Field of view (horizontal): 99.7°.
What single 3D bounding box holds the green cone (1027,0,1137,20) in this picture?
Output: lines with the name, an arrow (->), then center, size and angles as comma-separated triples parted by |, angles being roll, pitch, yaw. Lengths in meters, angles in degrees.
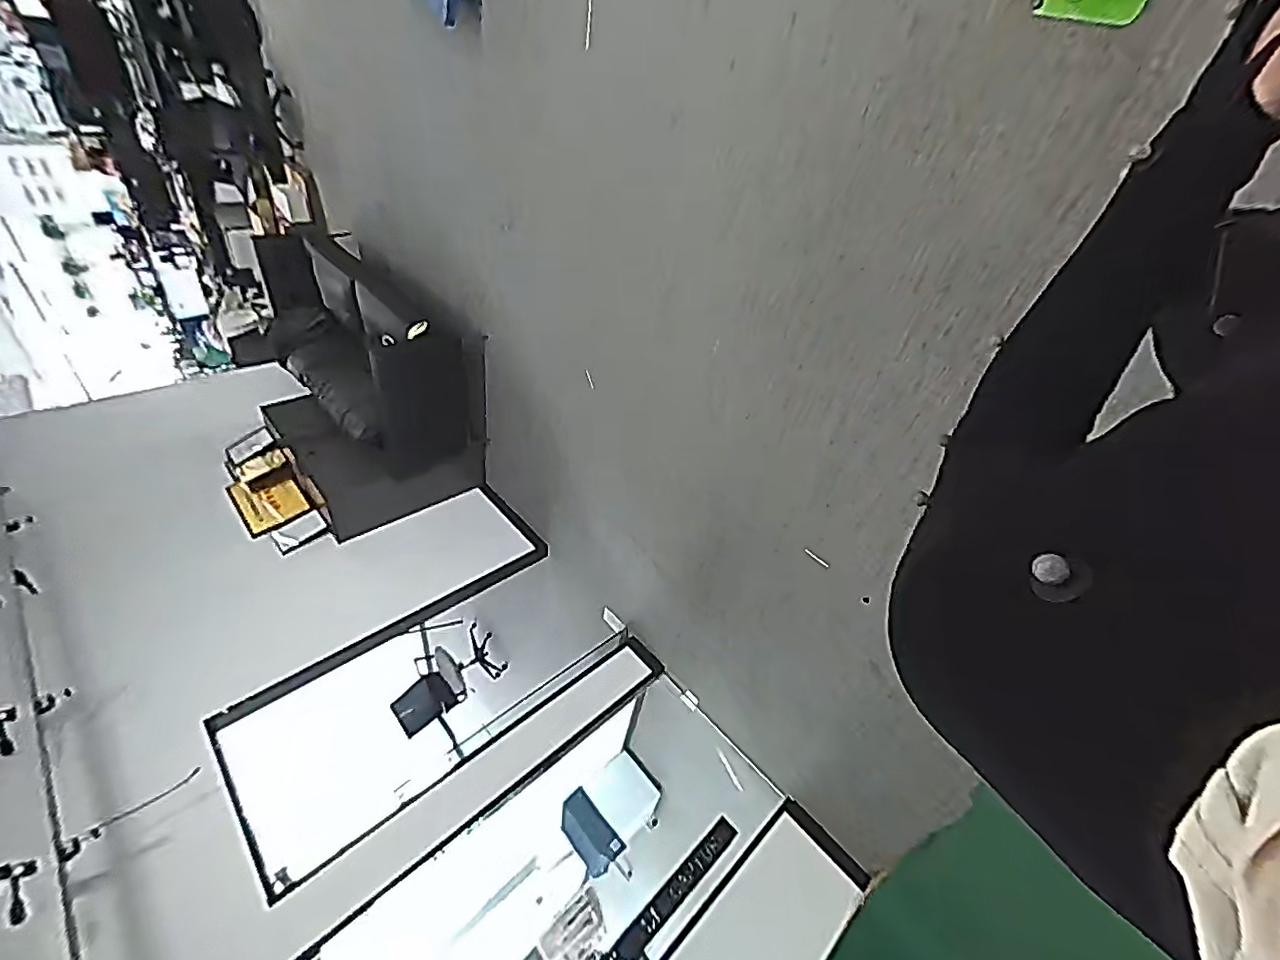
green cone -> 0.777, -0.965, 0.937 | 0.200, 0.368, 0.202 | 38, 136, 28
